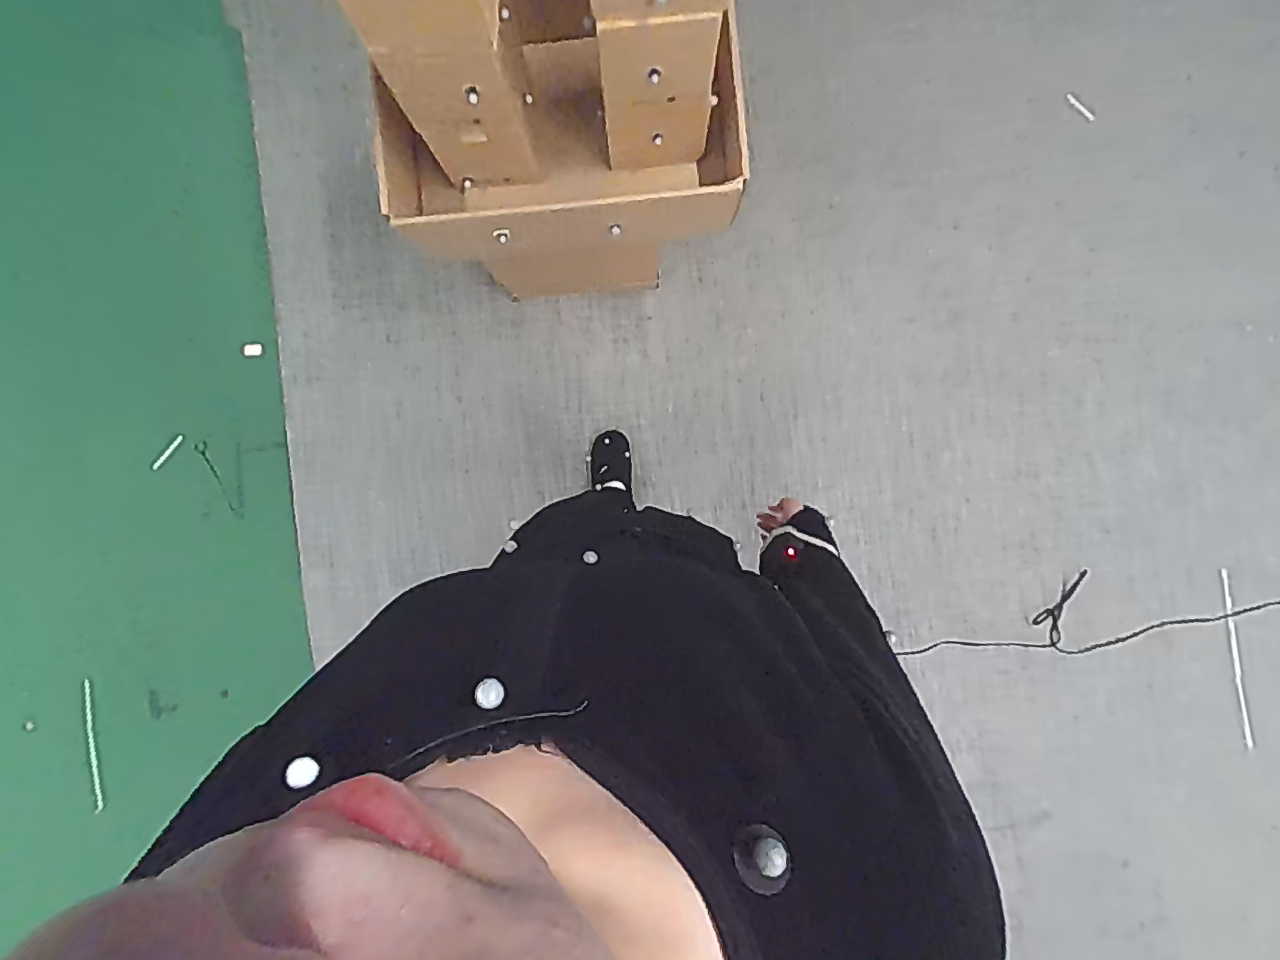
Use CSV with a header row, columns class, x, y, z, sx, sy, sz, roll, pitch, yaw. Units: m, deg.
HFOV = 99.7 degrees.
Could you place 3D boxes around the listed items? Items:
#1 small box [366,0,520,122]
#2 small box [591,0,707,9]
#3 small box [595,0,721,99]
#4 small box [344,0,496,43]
class,x,y,z,sx,sy,sz,roll,pitch,yaw
small box,-0.272,-0.651,0.779,0.168,0.176,0.179,0,90,0
small box,0.020,-0.680,0.606,0.179,0.176,0.168,-4,90,1
small box,0.021,-0.680,0.770,0.168,0.176,0.179,-4,90,1
small box,-0.269,-0.647,0.617,0.179,0.176,0.168,3,90,-2
